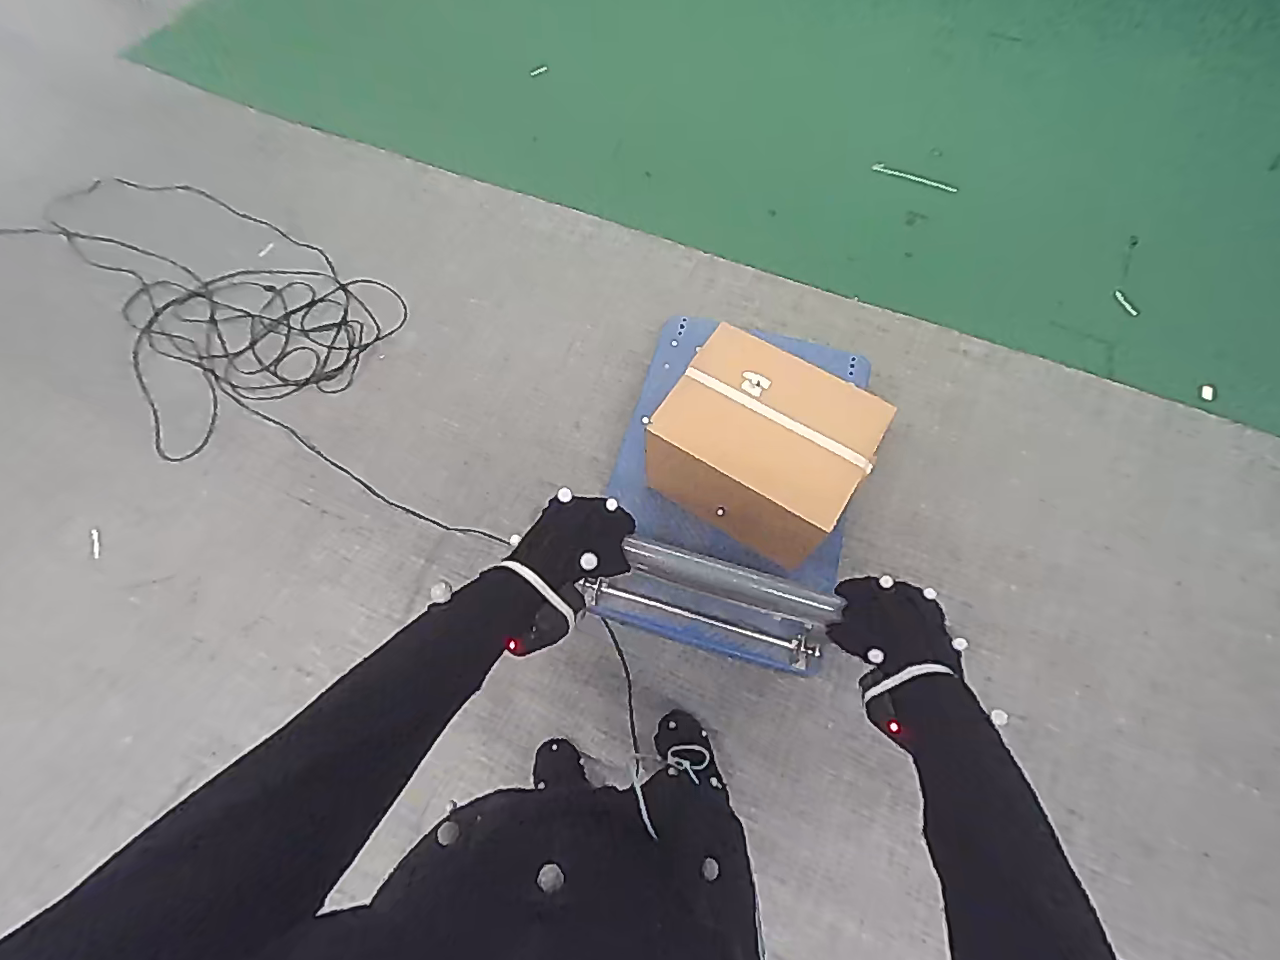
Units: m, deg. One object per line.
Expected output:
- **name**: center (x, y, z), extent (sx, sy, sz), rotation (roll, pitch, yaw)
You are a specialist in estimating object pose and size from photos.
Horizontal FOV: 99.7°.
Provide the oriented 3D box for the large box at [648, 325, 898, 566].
- **large box**: center (0.271, -0.064, 1.201), extent (0.408, 0.320, 0.320), rotation (31, 72, 14)
